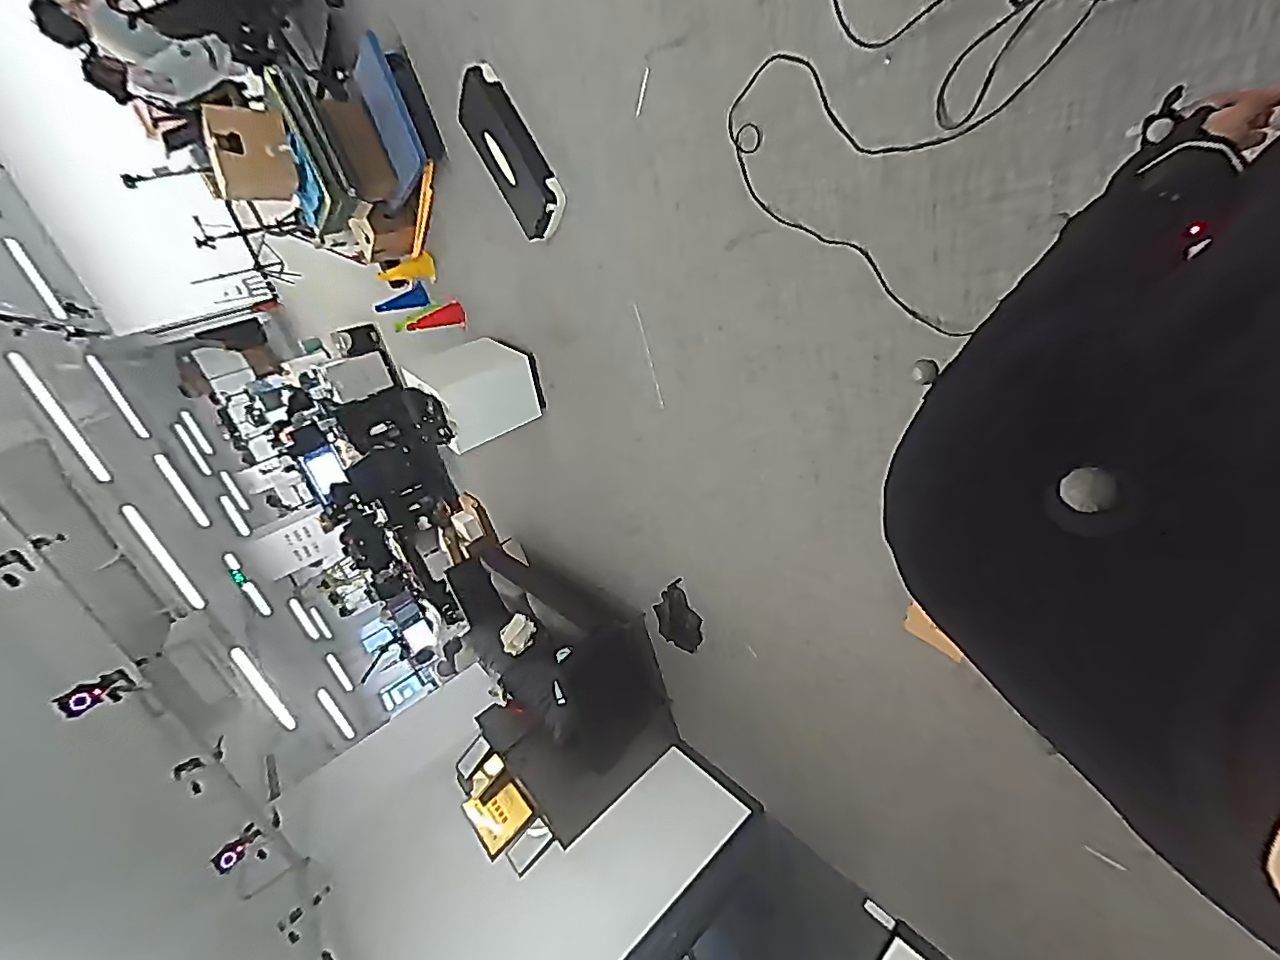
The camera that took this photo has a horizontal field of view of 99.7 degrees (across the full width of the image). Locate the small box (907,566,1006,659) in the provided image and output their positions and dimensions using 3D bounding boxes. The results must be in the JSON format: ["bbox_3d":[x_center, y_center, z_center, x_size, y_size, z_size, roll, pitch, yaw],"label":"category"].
[{"bbox_3d":[0.930,0.381,1.593,0.179,0.176,0.168,33,142,38],"label":"small box"}]
